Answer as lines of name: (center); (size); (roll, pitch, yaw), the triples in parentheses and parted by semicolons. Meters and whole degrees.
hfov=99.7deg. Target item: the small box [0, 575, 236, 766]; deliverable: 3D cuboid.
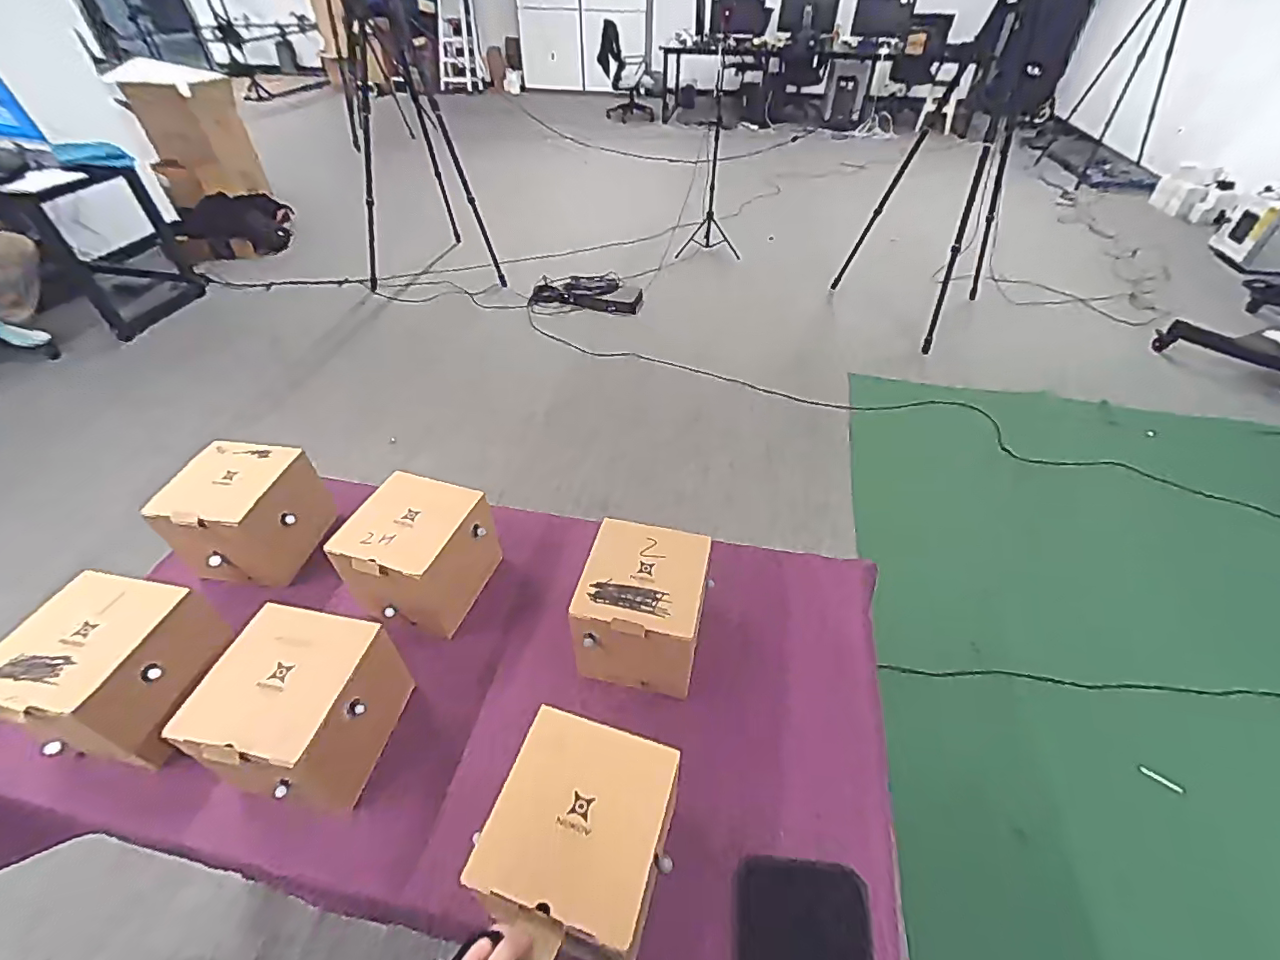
small box: (-0.692, 0.257, 0.729); (0.168, 0.176, 0.179); (8, 43, 7)

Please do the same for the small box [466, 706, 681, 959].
small box: (-0.060, 0.387, 0.592); (0.168, 0.176, 0.179); (13, 45, 13)

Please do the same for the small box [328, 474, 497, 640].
small box: (-0.347, 0.122, 0.868); (0.168, 0.176, 0.179); (13, 46, 14)

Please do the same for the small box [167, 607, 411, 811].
small box: (-0.423, 0.294, 0.693); (0.168, 0.176, 0.179); (9, 44, 8)

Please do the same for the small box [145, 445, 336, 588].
small box: (-0.663, 0.065, 0.929); (0.168, 0.176, 0.179); (6, 45, 5)
